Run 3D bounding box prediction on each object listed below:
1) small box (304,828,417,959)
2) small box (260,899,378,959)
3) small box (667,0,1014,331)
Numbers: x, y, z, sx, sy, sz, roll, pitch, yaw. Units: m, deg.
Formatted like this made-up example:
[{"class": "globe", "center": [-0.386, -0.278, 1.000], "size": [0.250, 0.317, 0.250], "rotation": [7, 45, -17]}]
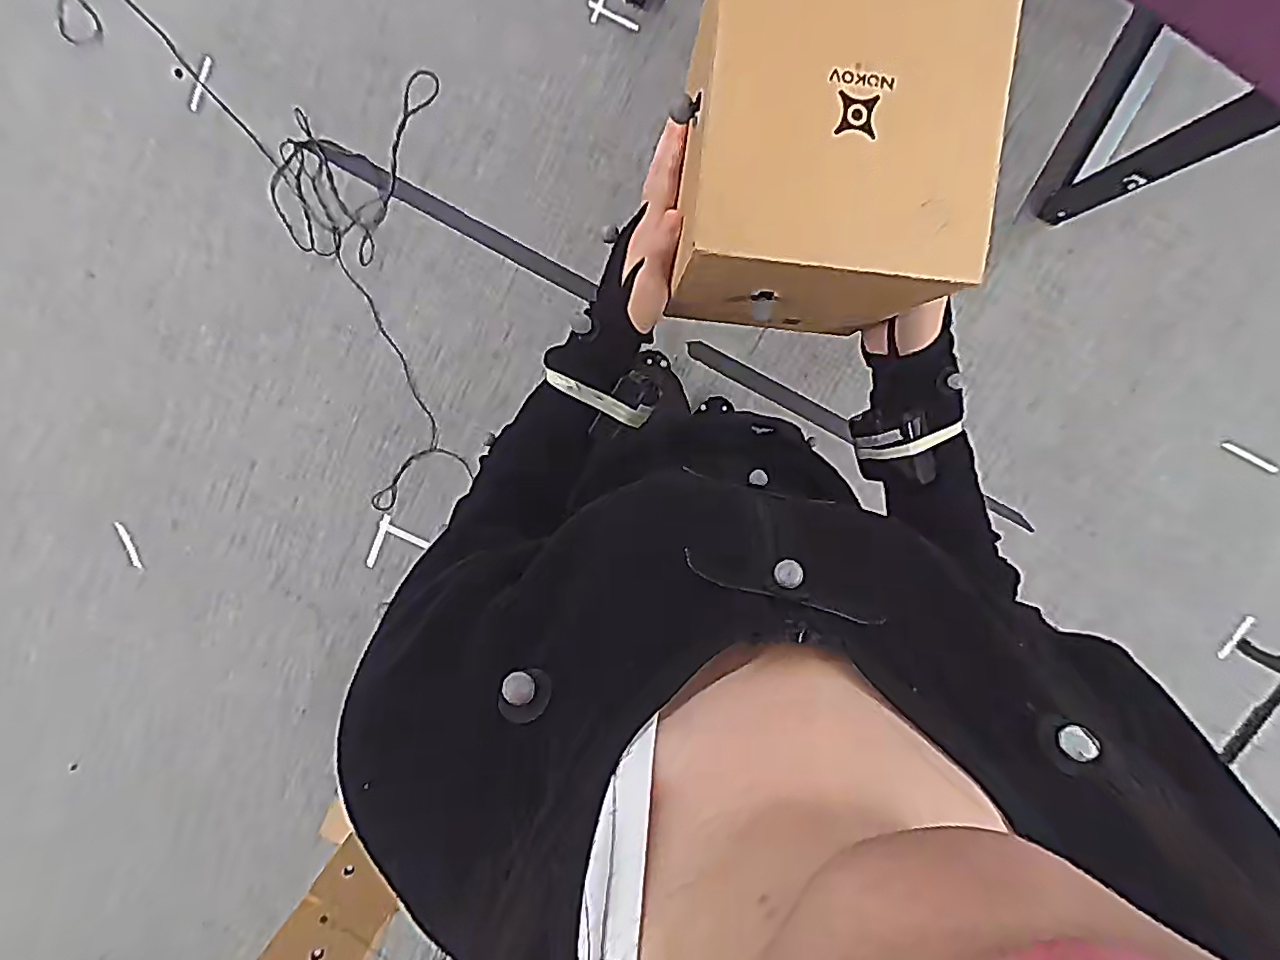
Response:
[{"class": "small box", "center": [-0.603, 0.894, 1.151], "size": [0.168, 0.176, 0.179], "rotation": [23, 101, 1]}, {"class": "small box", "center": [-0.611, 0.926, 0.989], "size": [0.168, 0.176, 0.179], "rotation": [19, 100, 2]}, {"class": "small box", "center": [0.113, -0.210, 0.377], "size": [0.168, 0.176, 0.179], "rotation": [5, 94, -4]}]
